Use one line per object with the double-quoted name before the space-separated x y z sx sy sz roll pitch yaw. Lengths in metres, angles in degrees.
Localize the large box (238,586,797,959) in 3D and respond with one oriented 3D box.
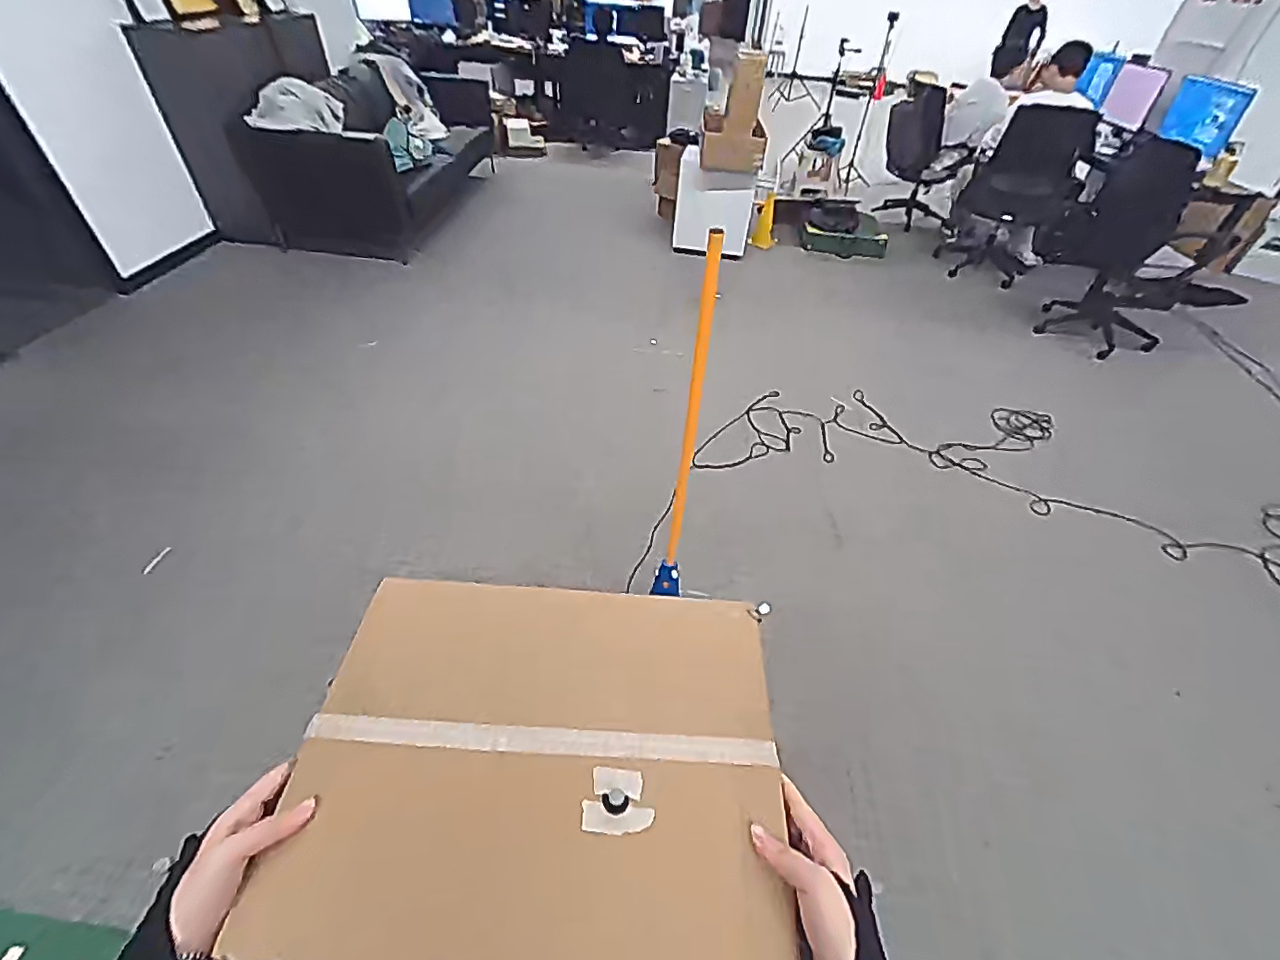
"large box" -0.092 0.340 0.588 0.408 0.320 0.320 4 44 -1
